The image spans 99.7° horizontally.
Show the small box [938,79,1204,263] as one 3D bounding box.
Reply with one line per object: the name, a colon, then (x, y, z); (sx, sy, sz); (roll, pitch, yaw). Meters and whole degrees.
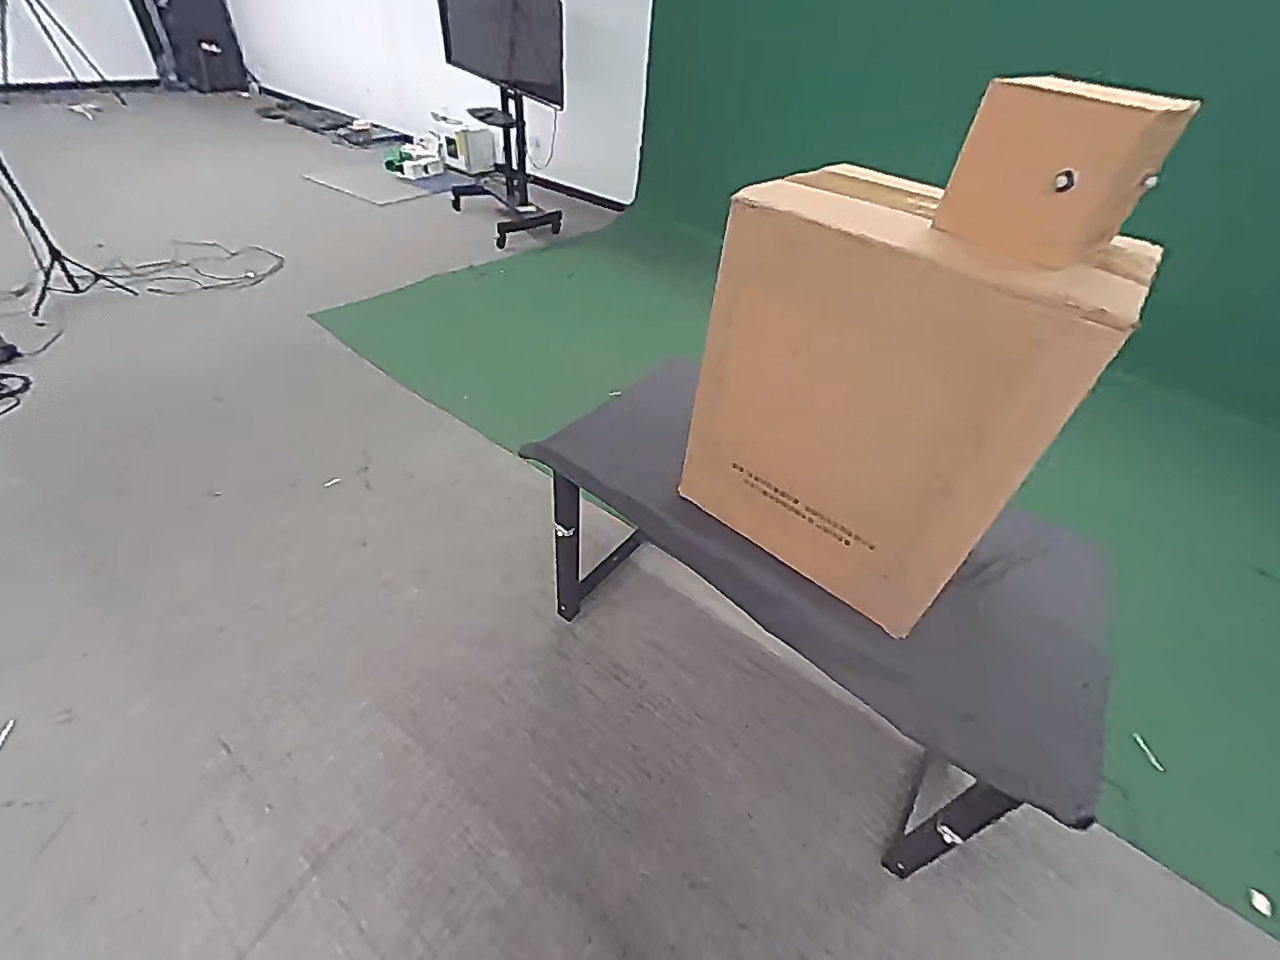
small box: (0.527, -0.388, 0.684); (0.168, 0.176, 0.179); (-25, 51, -29)
